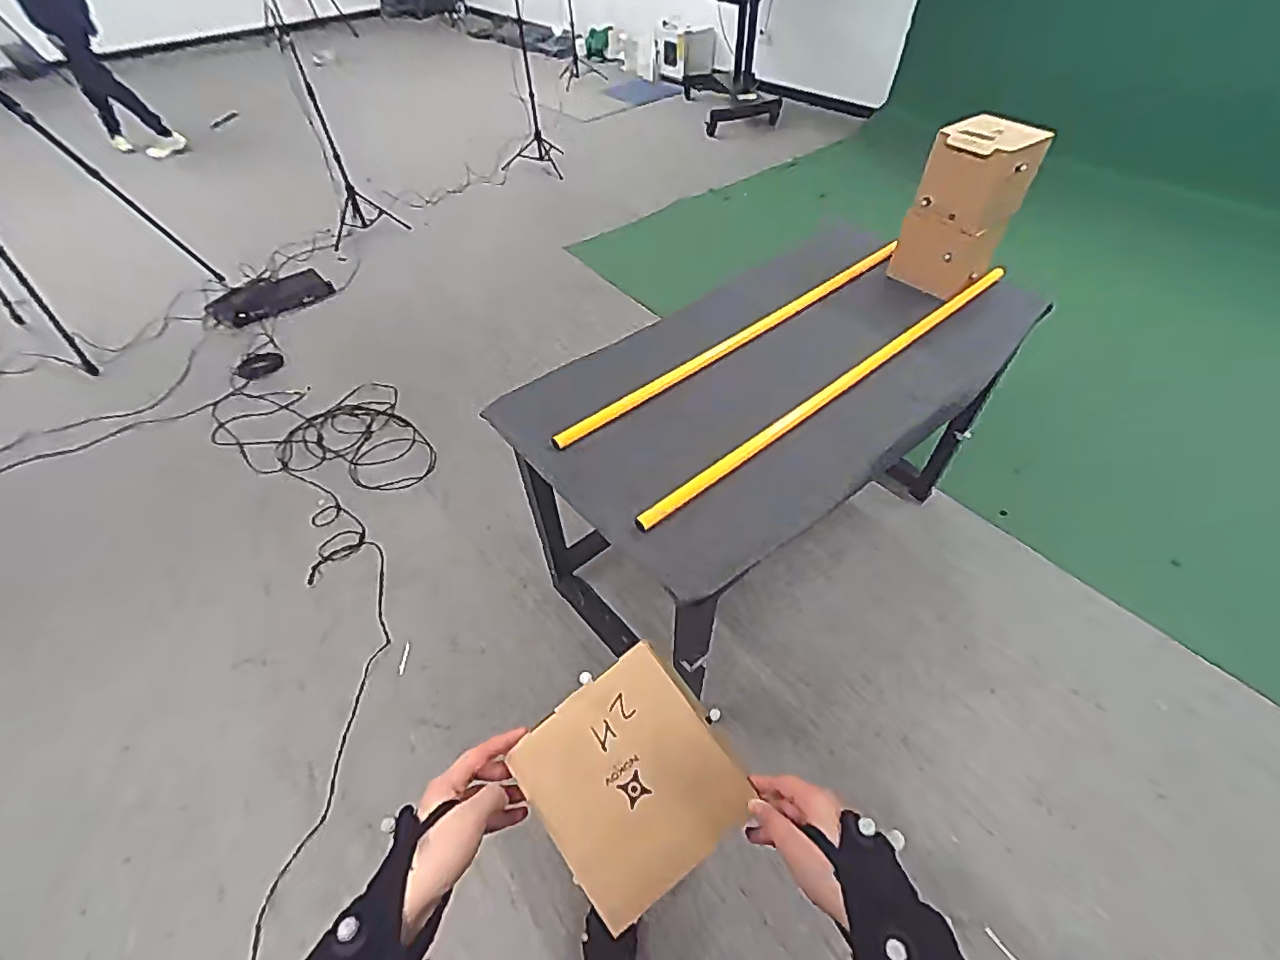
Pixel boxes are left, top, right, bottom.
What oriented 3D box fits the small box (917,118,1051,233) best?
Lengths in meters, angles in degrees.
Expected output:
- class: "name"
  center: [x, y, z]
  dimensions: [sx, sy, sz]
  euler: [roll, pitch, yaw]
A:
- class: "small box"
  center: [0.755, -0.679, 1.212]
  dimensions: [0.179, 0.176, 0.168]
  euler: [-29, 56, -22]
